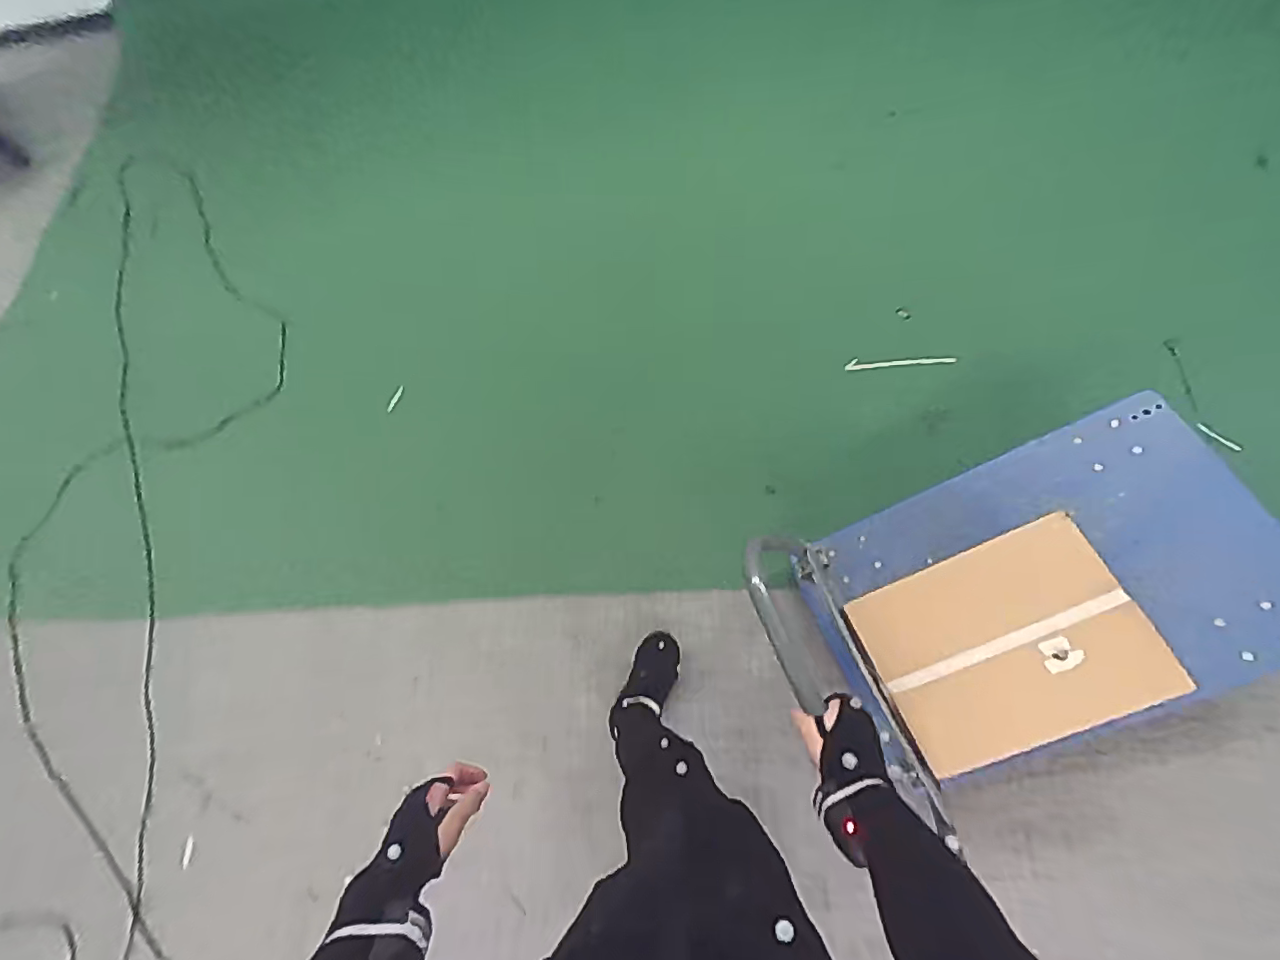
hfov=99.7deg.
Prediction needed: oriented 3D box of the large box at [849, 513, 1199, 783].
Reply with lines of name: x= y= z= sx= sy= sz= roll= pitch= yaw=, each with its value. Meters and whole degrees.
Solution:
large box: x=0.661 y=0.315 z=1.033 sx=0.408 sy=0.320 sz=0.320 roll=-28 pitch=68 yaw=11
